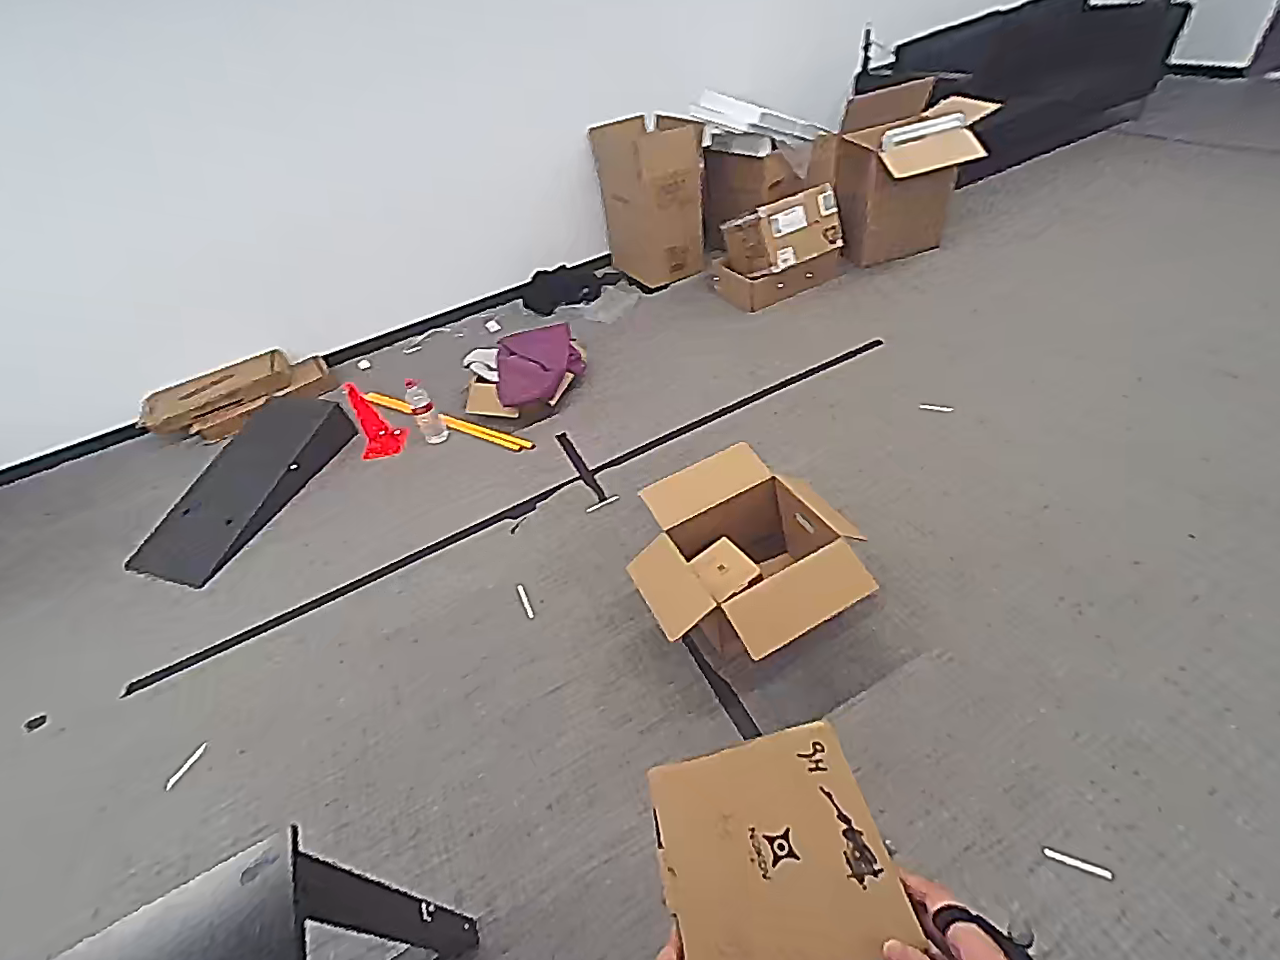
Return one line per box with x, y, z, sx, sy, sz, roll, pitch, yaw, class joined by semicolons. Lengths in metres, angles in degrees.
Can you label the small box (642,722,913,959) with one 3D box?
0.114;0.354;0.498;0.179;0.176;0.168;-15;46;-1;small box
